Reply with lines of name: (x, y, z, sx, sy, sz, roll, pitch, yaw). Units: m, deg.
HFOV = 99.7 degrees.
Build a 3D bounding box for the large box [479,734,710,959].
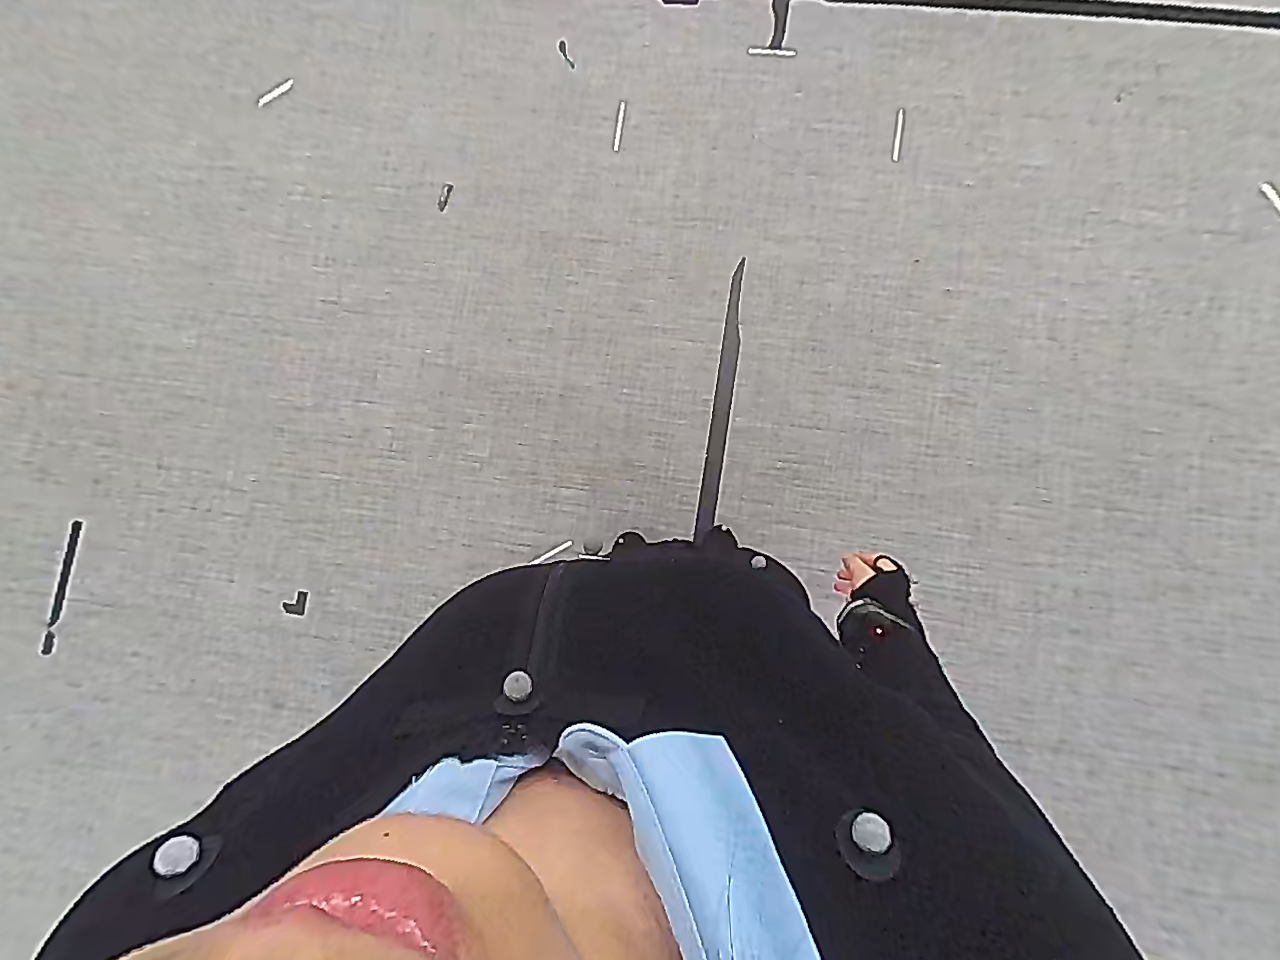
large box: (-0.073, 0.776, 1.143, 0.408, 0.320, 0.320, 7, 85, 5)
